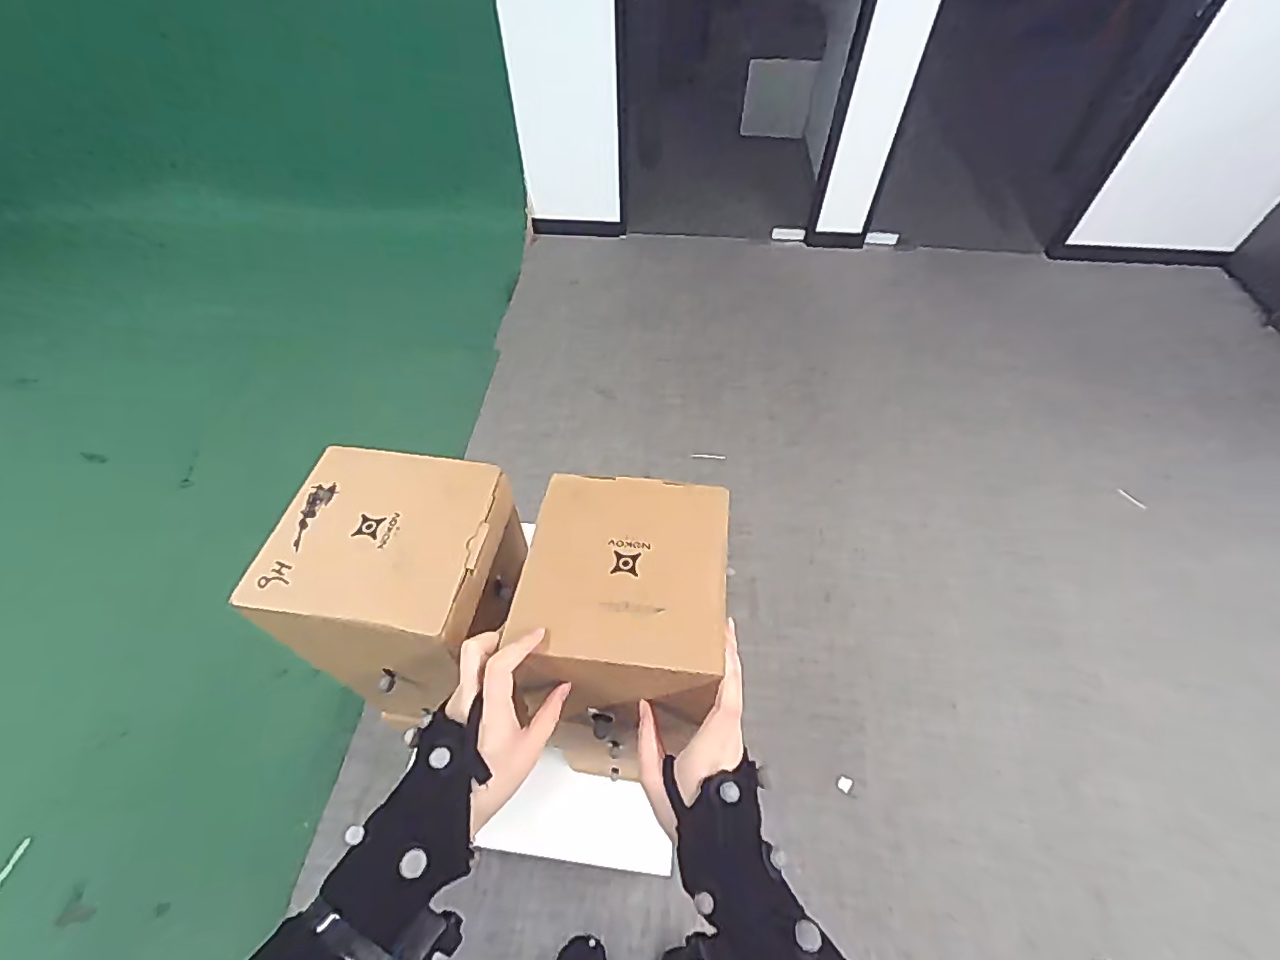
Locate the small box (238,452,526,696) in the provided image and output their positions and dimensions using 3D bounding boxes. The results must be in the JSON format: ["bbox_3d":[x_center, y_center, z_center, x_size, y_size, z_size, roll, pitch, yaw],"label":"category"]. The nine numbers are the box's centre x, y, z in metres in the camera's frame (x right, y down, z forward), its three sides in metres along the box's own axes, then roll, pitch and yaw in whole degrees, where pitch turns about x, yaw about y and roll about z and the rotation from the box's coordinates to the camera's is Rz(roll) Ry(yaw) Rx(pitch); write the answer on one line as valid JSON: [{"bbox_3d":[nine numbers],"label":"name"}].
[{"bbox_3d":[-0.221,0.098,0.528,0.179,0.176,0.168,8,53,4],"label":"small box"}]

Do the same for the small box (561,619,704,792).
[{"bbox_3d":[-0.004,0.322,0.770,0.168,0.176,0.179,7,53,6],"label":"small box"}]

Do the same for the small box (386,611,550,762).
[{"bbox_3d":[-0.233,0.293,0.792,0.168,0.176,0.179,6,54,4],"label":"small box"}]

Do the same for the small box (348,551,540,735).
[{"bbox_3d":[-0.227,0.191,0.663,0.168,0.176,0.179,7,53,5],"label":"small box"}]
